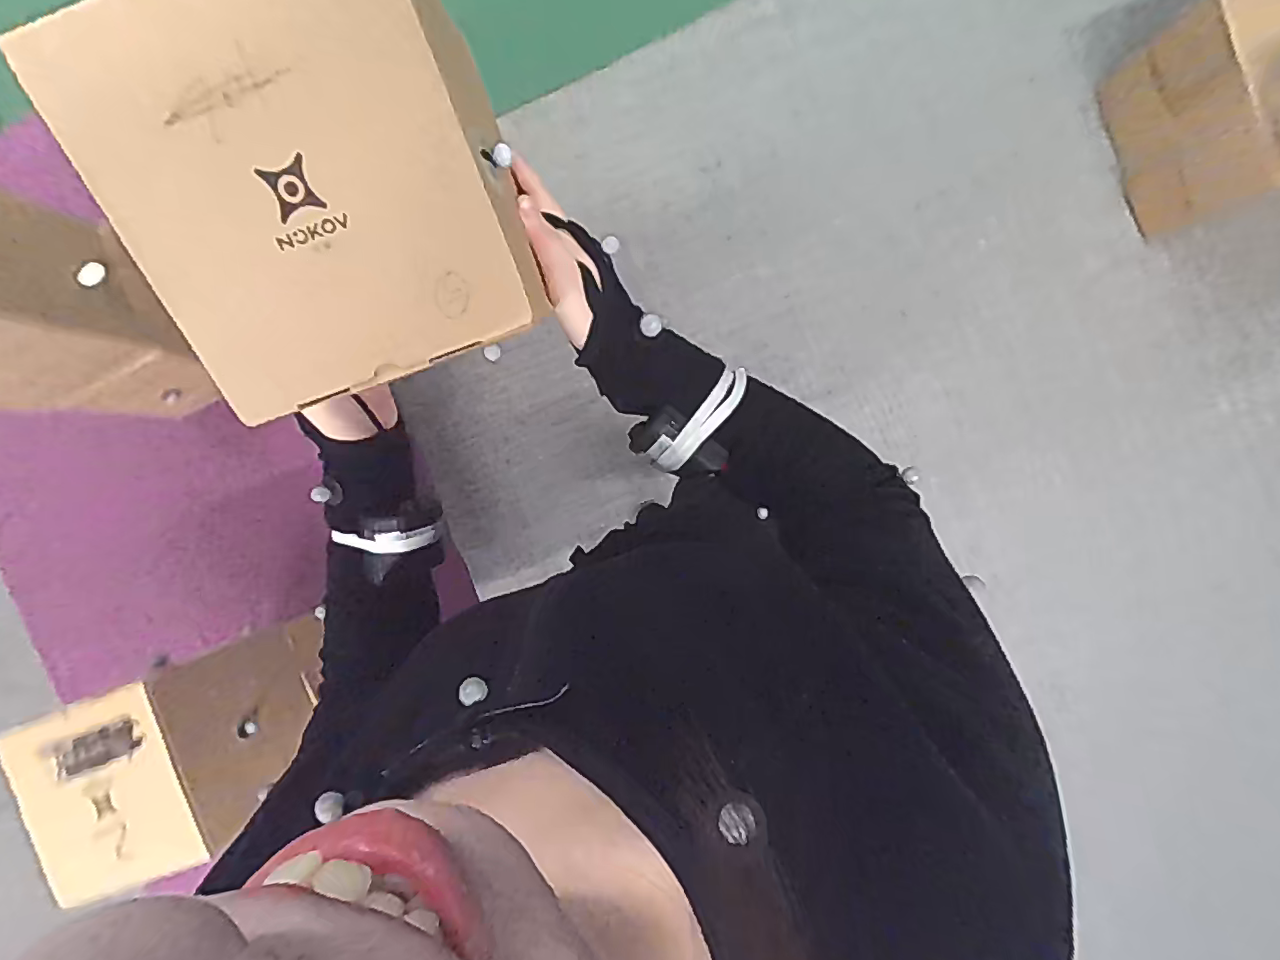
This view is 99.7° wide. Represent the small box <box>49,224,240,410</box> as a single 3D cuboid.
[{"bbox_3d":[-0.675,-0.202,0.735,0.168,0.176,0.179,-23,90,5],"label":"small box"}]

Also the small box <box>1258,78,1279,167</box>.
[{"bbox_3d":[1.286,-0.695,0.957,0.179,0.176,0.168,-16,91,4],"label":"small box"}]

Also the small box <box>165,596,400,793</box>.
[{"bbox_3d":[-0.471,0.278,0.738,0.179,0.176,0.168,-23,90,5],"label":"small box"}]

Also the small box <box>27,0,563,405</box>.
[{"bbox_3d":[-0.152,-0.166,0.319,0.168,0.176,0.179,-16,112,3],"label":"small box"}]

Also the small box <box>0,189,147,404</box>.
[{"bbox_3d":[-0.697,-0.192,0.572,0.179,0.176,0.168,-26,90,5],"label":"small box"}]
